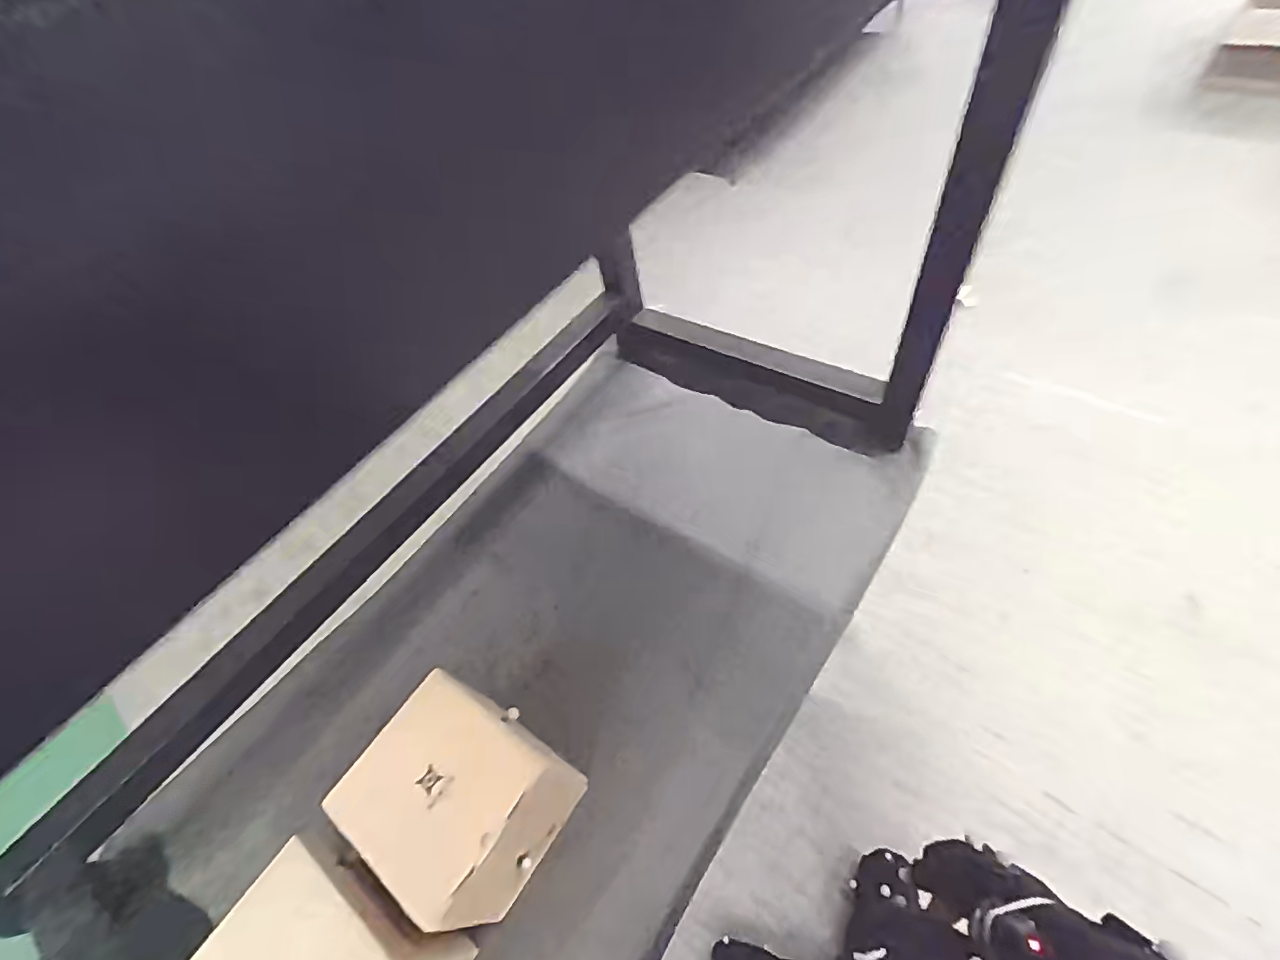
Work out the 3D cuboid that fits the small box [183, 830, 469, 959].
[{"bbox_3d":[-0.307,0.484,0.527,0.179,0.176,0.168,25,64,27],"label":"small box"}]
